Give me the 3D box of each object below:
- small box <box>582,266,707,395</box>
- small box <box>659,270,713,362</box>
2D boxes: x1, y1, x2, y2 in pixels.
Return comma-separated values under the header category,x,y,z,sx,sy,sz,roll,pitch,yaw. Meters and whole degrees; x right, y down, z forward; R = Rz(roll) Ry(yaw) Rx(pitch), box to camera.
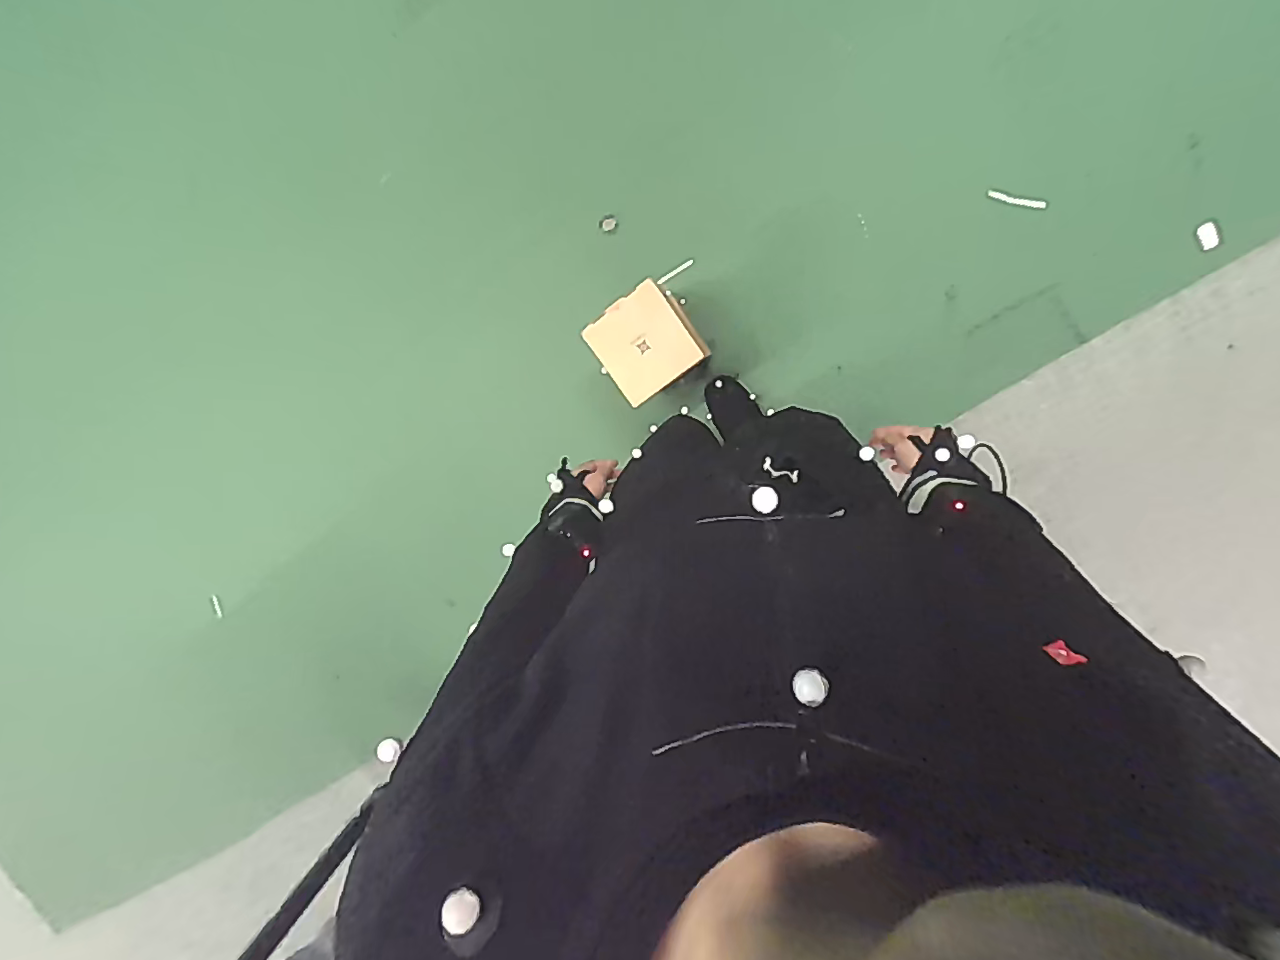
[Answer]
category,x,y,z,sx,sy,sz,roll,pitch,yaw
small box,0.019,-0.291,1.063,0.168,0.176,0.179,-35,96,16
small box,0.050,-0.340,1.216,0.168,0.176,0.179,-34,97,17
